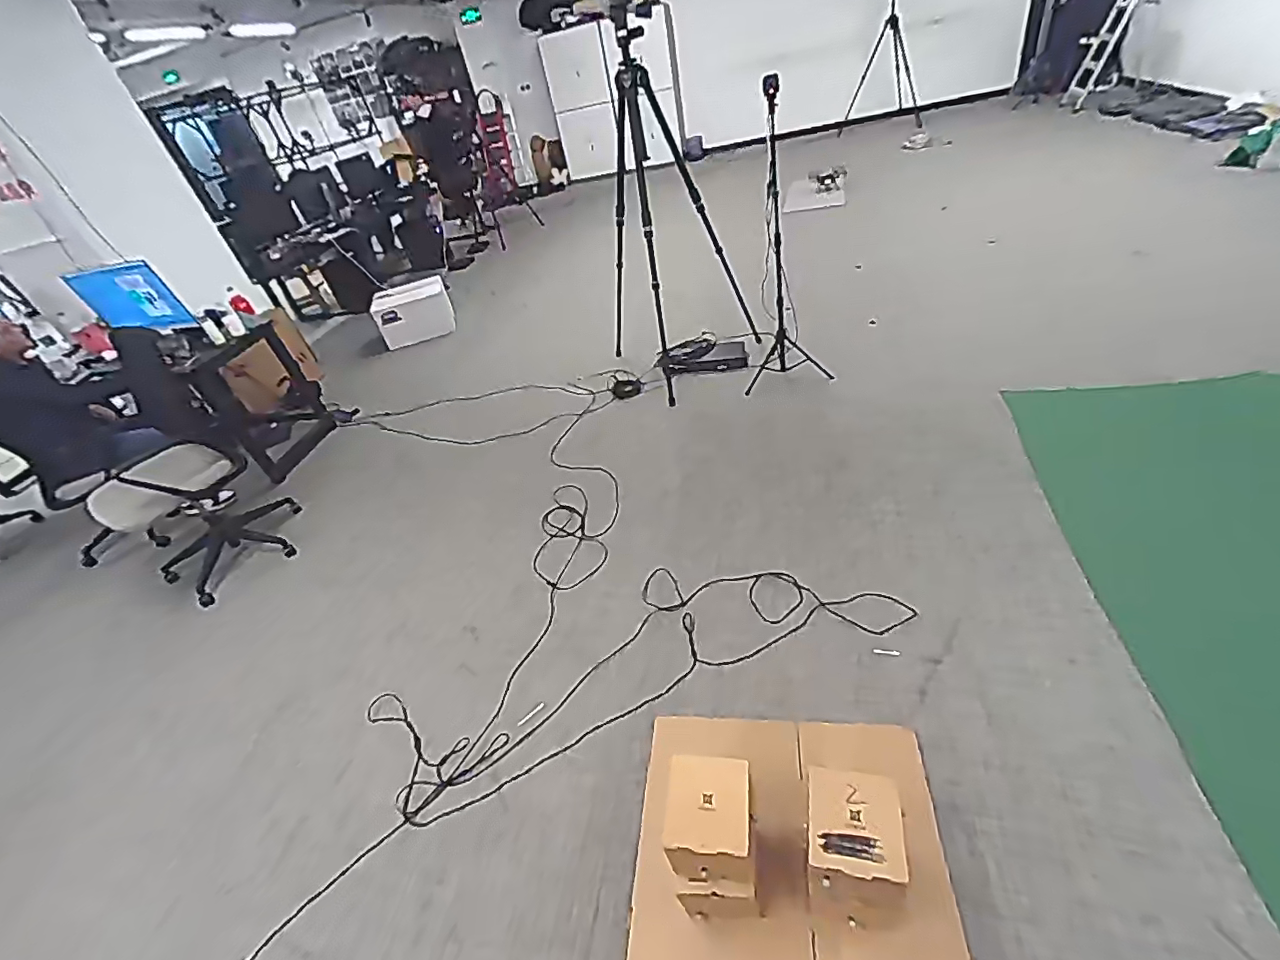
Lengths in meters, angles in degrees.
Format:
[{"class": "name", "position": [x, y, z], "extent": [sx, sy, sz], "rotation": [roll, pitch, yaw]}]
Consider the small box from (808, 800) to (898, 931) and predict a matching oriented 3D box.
[{"class": "small box", "position": [0.448, 0.823, 1.158], "extent": [0.168, 0.176, 0.179], "rotation": [-1, 40, 18]}]

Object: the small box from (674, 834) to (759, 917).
[{"class": "small box", "position": [0.175, 0.849, 1.211], "extent": [0.168, 0.176, 0.179], "rotation": [-5, 39, 12]}]

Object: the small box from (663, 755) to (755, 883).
[{"class": "small box", "position": [0.151, 0.706, 1.131], "extent": [0.168, 0.176, 0.179], "rotation": [-3, 39, 14]}]
